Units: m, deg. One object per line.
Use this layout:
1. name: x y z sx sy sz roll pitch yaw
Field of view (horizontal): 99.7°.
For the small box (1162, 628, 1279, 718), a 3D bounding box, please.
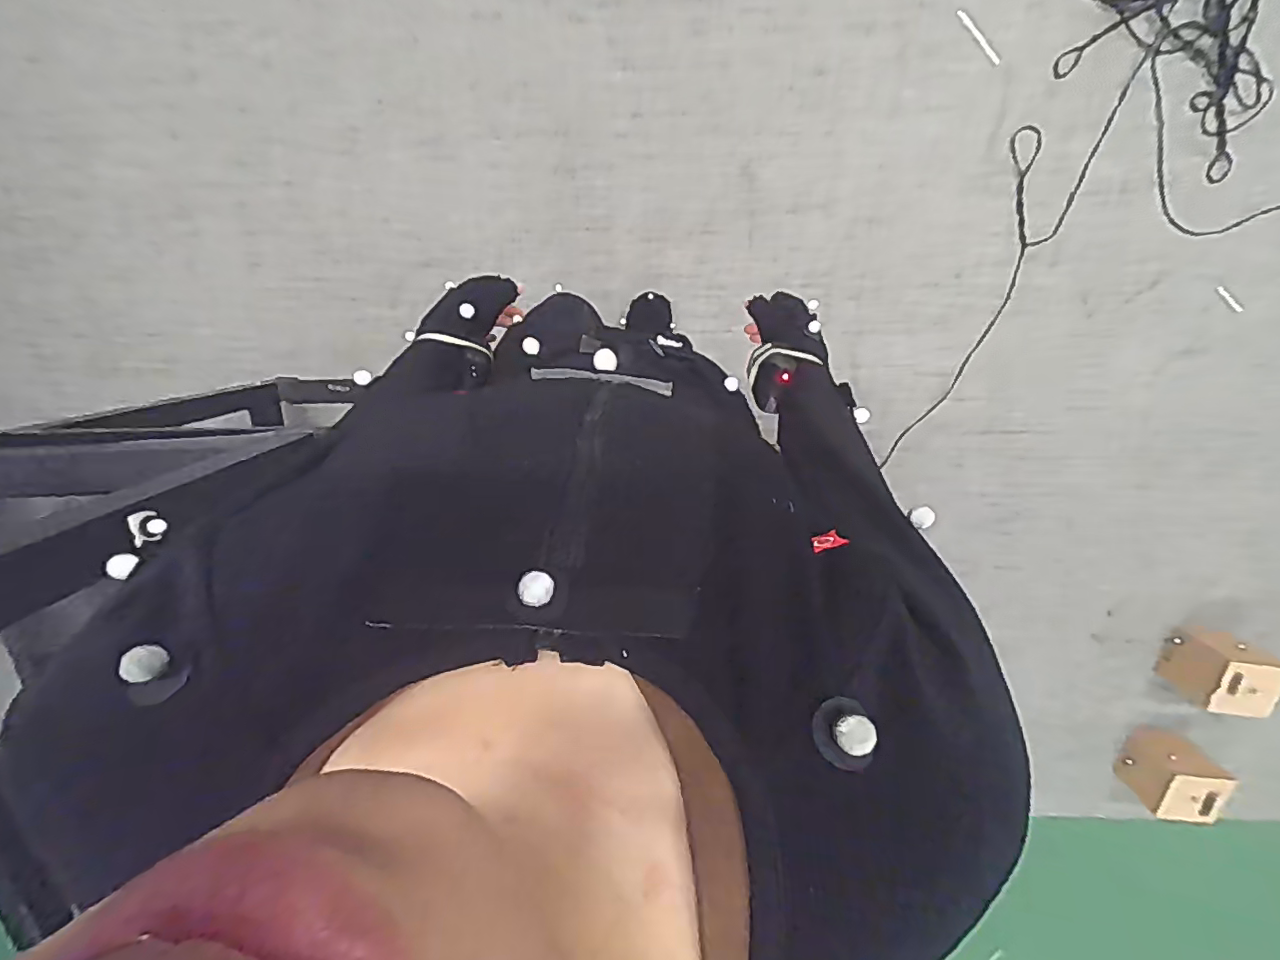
1. small box: 1.652 0.538 1.527 0.179 0.176 0.168 7 109 -1
